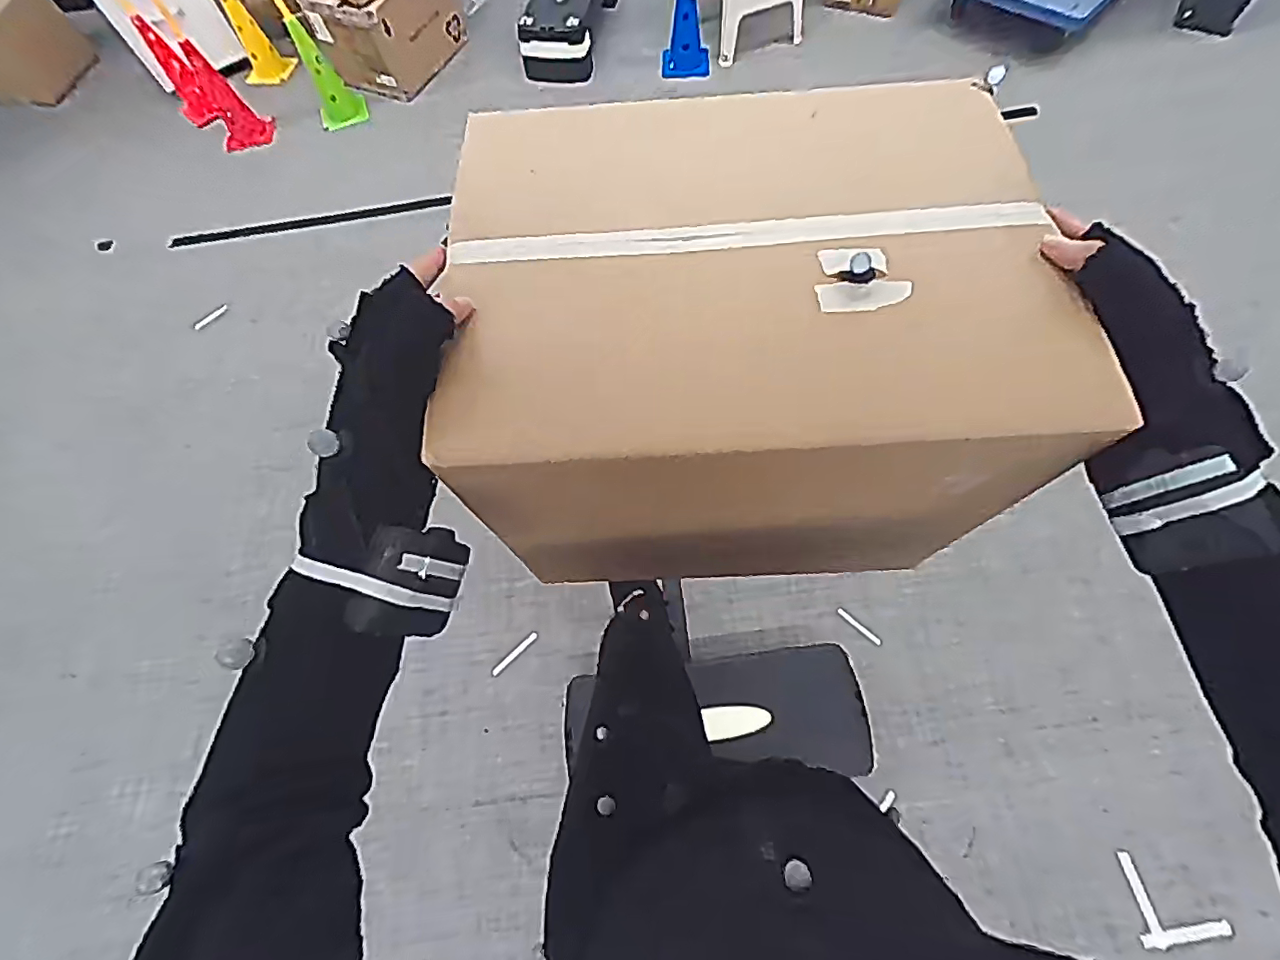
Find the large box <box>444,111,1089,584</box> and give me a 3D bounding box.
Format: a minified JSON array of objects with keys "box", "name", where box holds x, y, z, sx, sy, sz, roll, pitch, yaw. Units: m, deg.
[{"box":[0.073,-0.095,0.525,0.408,0.320,0.320,-3,66,2],"name":"large box"}]
